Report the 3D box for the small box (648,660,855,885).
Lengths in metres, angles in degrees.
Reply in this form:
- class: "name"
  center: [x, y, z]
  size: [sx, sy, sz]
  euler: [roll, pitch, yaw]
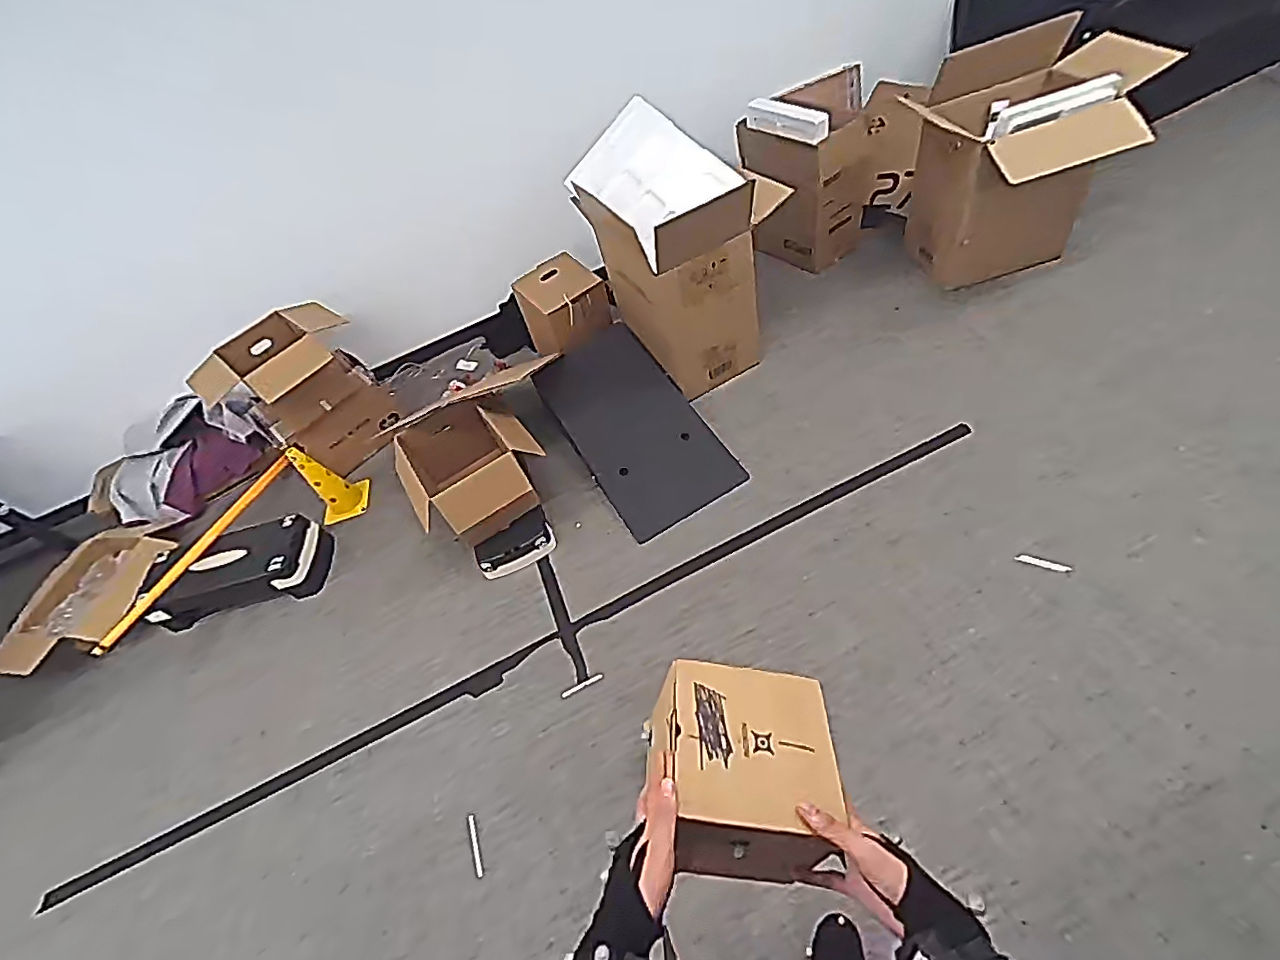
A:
- class: "small box"
  center: [0.108, 0.330, 0.608]
  size: [0.179, 0.176, 0.168]
  euler: [10, 40, -4]
